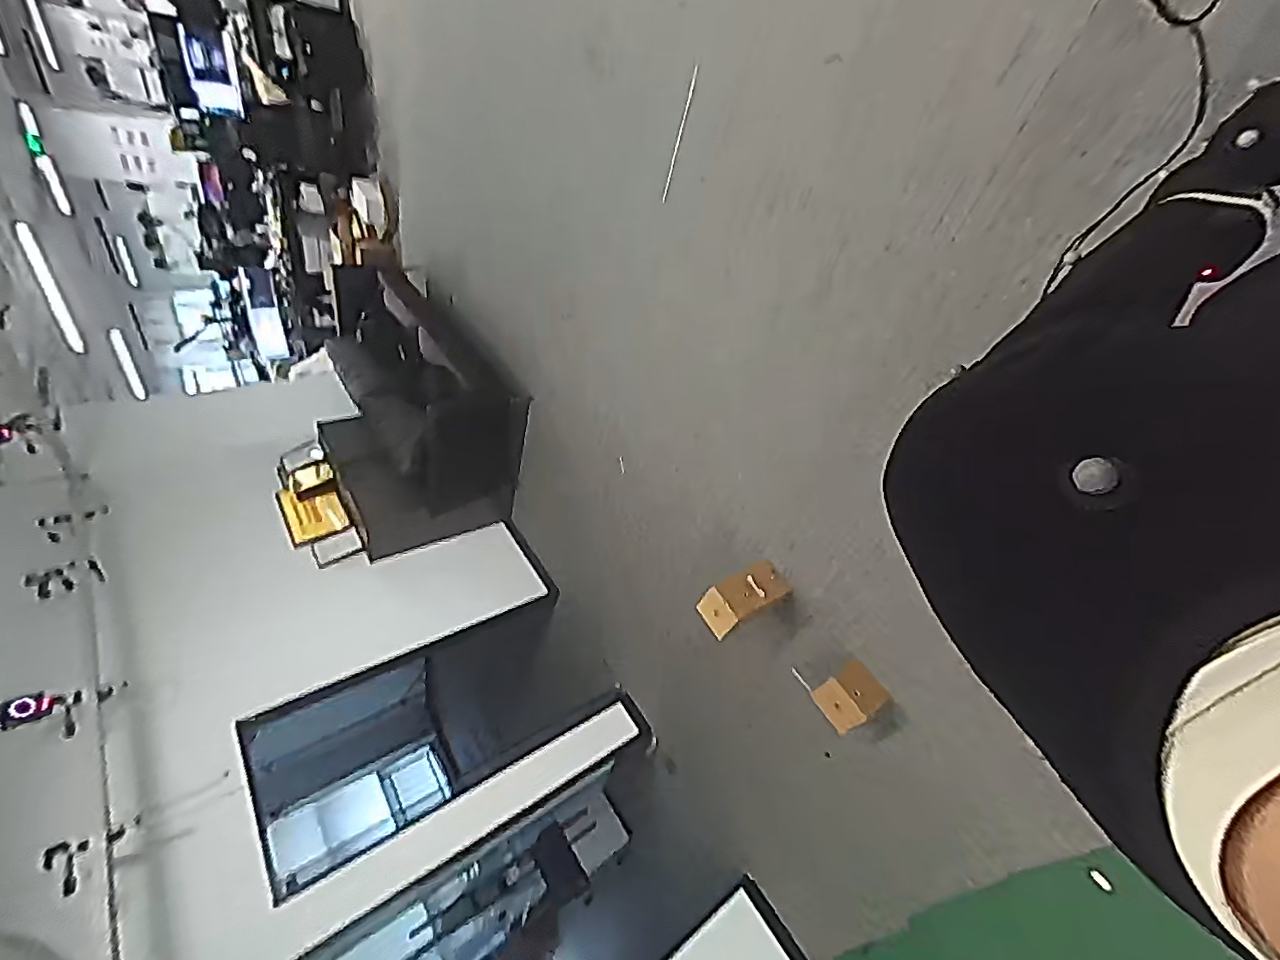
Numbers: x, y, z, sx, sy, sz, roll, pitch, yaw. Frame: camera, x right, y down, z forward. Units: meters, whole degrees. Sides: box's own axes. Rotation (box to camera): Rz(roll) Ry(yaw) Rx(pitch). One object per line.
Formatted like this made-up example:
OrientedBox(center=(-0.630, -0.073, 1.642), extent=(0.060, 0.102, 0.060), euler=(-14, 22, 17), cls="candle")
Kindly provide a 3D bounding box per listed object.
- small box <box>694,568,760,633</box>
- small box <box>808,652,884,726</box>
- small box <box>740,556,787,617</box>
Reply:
OrientedBox(center=(0.356, 0.487, 2.199), extent=(0.168, 0.176, 0.179), euler=(53, 139, 26), cls="small box")
OrientedBox(center=(0.782, 0.788, 2.045), extent=(0.179, 0.176, 0.168), euler=(52, 139, 26), cls="small box")
OrientedBox(center=(0.485, 0.450, 2.288), extent=(0.168, 0.176, 0.179), euler=(54, 140, 20), cls="small box")
